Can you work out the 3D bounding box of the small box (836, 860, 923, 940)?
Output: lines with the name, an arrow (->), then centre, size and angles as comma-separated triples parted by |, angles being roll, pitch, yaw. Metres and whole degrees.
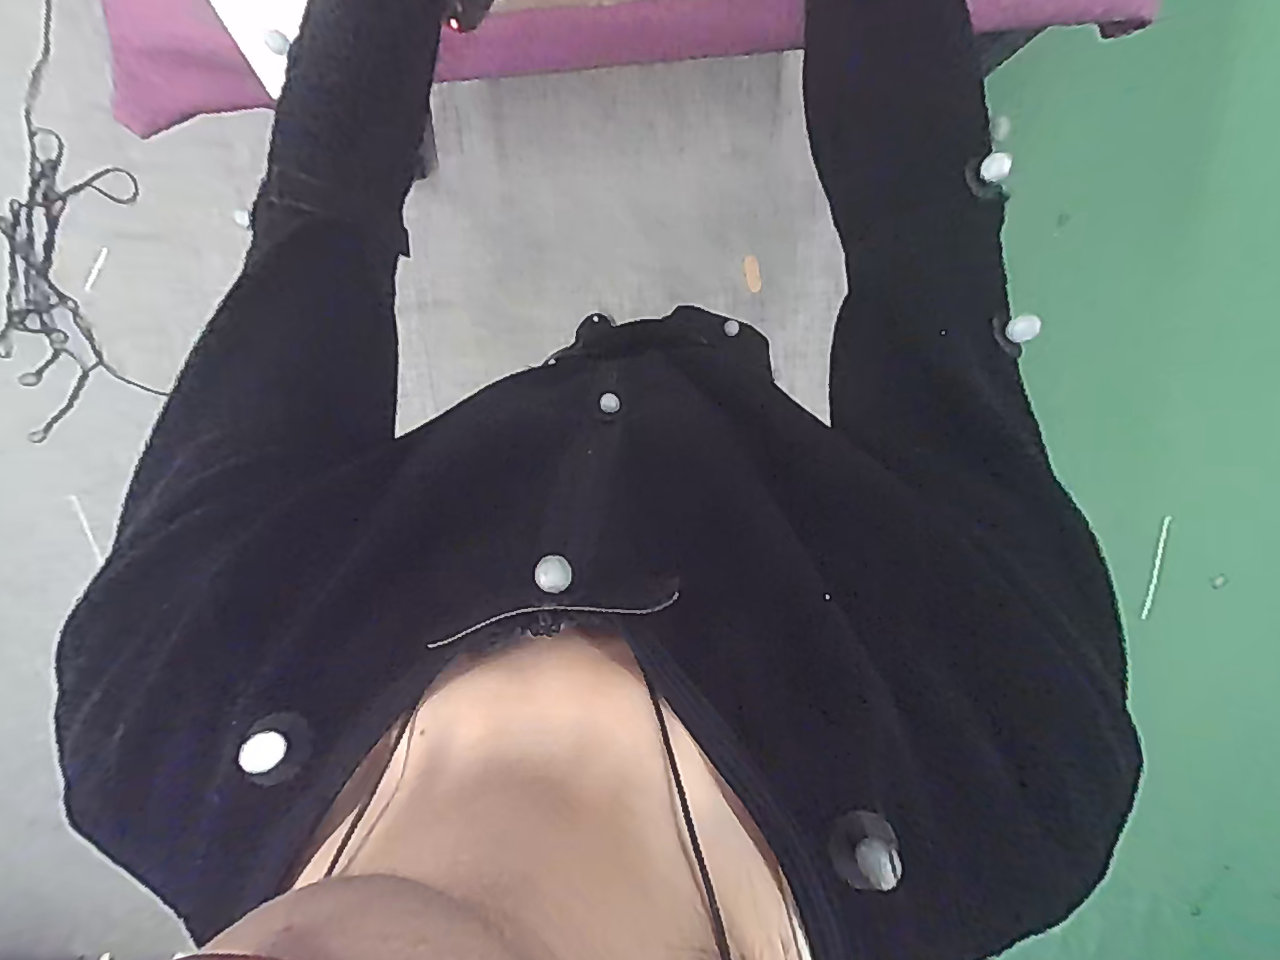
small box -> 0.621, 1.125, 1.405 | 0.168, 0.176, 0.179 | -11, 104, 7
